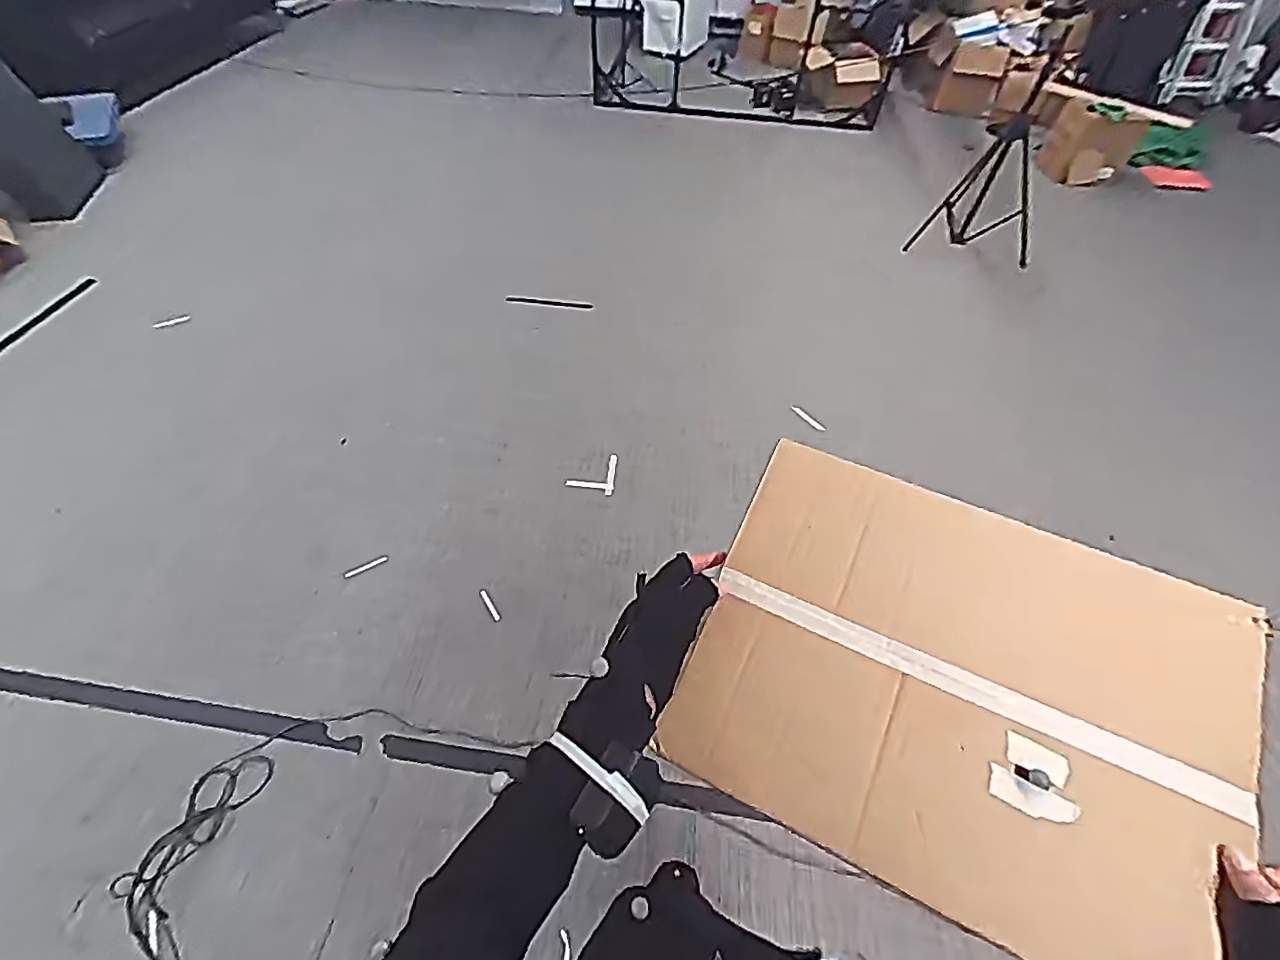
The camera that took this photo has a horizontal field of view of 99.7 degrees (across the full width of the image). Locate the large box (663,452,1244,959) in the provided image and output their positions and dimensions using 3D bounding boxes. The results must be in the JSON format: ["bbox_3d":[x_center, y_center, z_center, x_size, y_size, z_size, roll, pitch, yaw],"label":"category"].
[{"bbox_3d":[0.272,0.226,0.585,0.408,0.320,0.320,23,71,16],"label":"large box"}]
